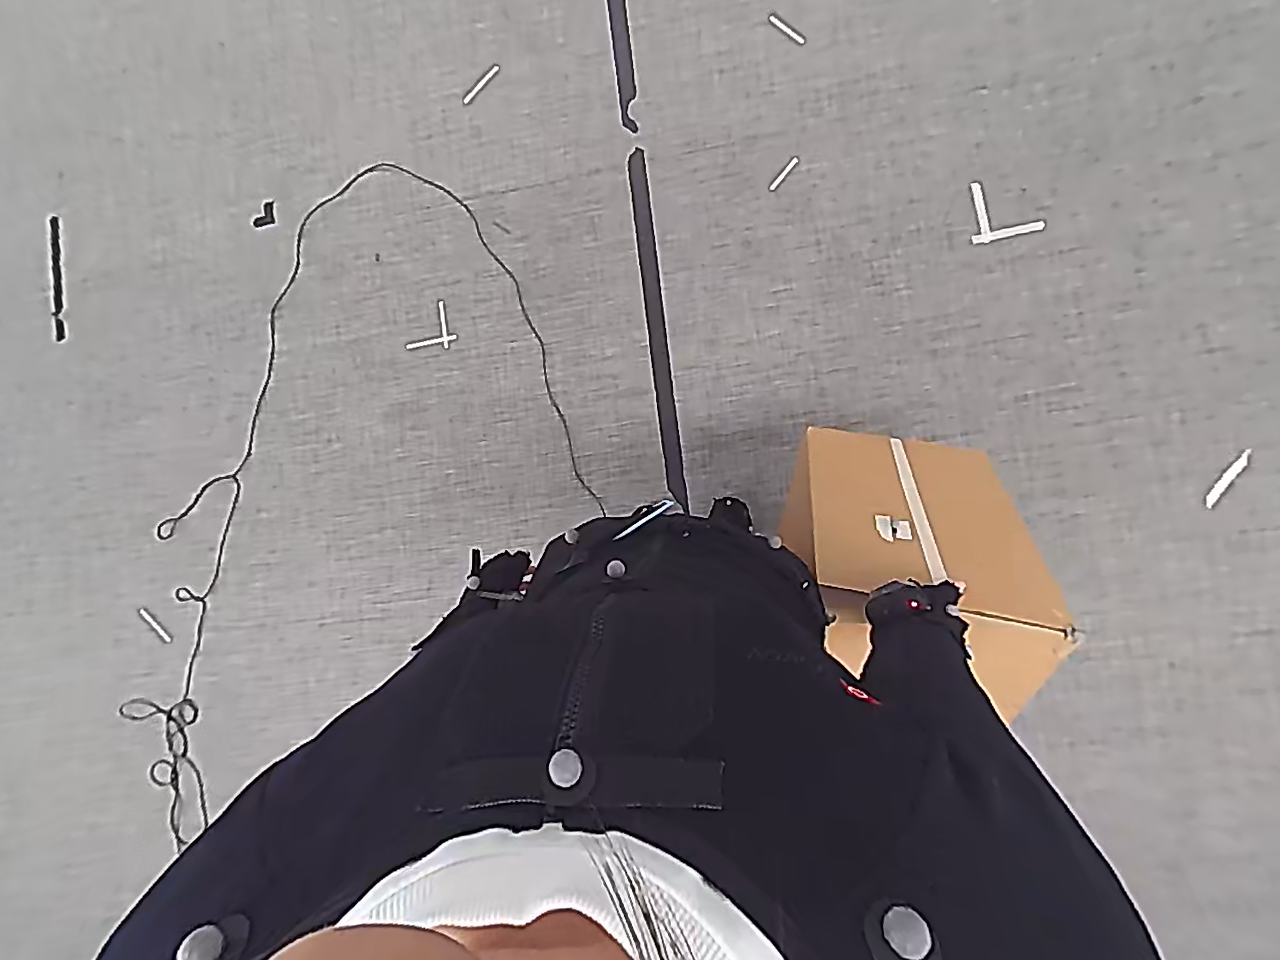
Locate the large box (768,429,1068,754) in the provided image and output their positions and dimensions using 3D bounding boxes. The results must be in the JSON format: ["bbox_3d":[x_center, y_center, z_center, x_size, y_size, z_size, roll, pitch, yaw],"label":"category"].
[{"bbox_3d":[0.402,0.166,0.915,0.320,0.408,0.320,9,129,9],"label":"large box"}]
